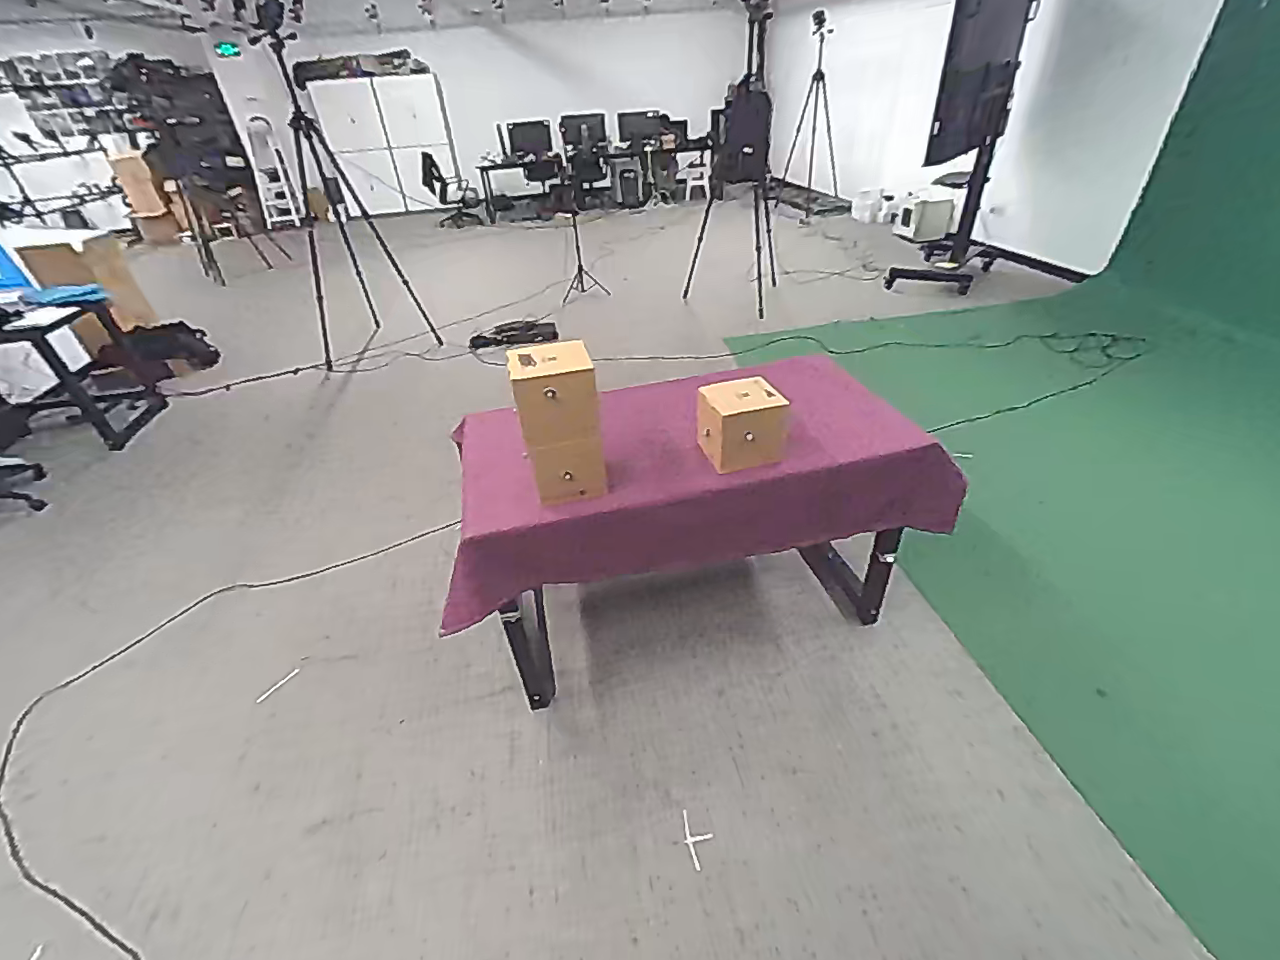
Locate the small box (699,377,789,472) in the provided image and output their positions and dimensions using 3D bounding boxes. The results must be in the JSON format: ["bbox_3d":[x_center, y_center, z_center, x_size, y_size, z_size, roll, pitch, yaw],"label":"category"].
[{"bbox_3d":[0.260,-0.140,1.375,0.179,0.176,0.168,-12,37,-9],"label":"small box"}]

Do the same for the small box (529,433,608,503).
[{"bbox_3d":[-0.176,-0.059,1.317,0.168,0.176,0.179,-11,36,-9],"label":"small box"}]

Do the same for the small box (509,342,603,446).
[{"bbox_3d":[-0.189,-0.192,1.219,0.179,0.176,0.168,-11,36,-9],"label":"small box"}]
